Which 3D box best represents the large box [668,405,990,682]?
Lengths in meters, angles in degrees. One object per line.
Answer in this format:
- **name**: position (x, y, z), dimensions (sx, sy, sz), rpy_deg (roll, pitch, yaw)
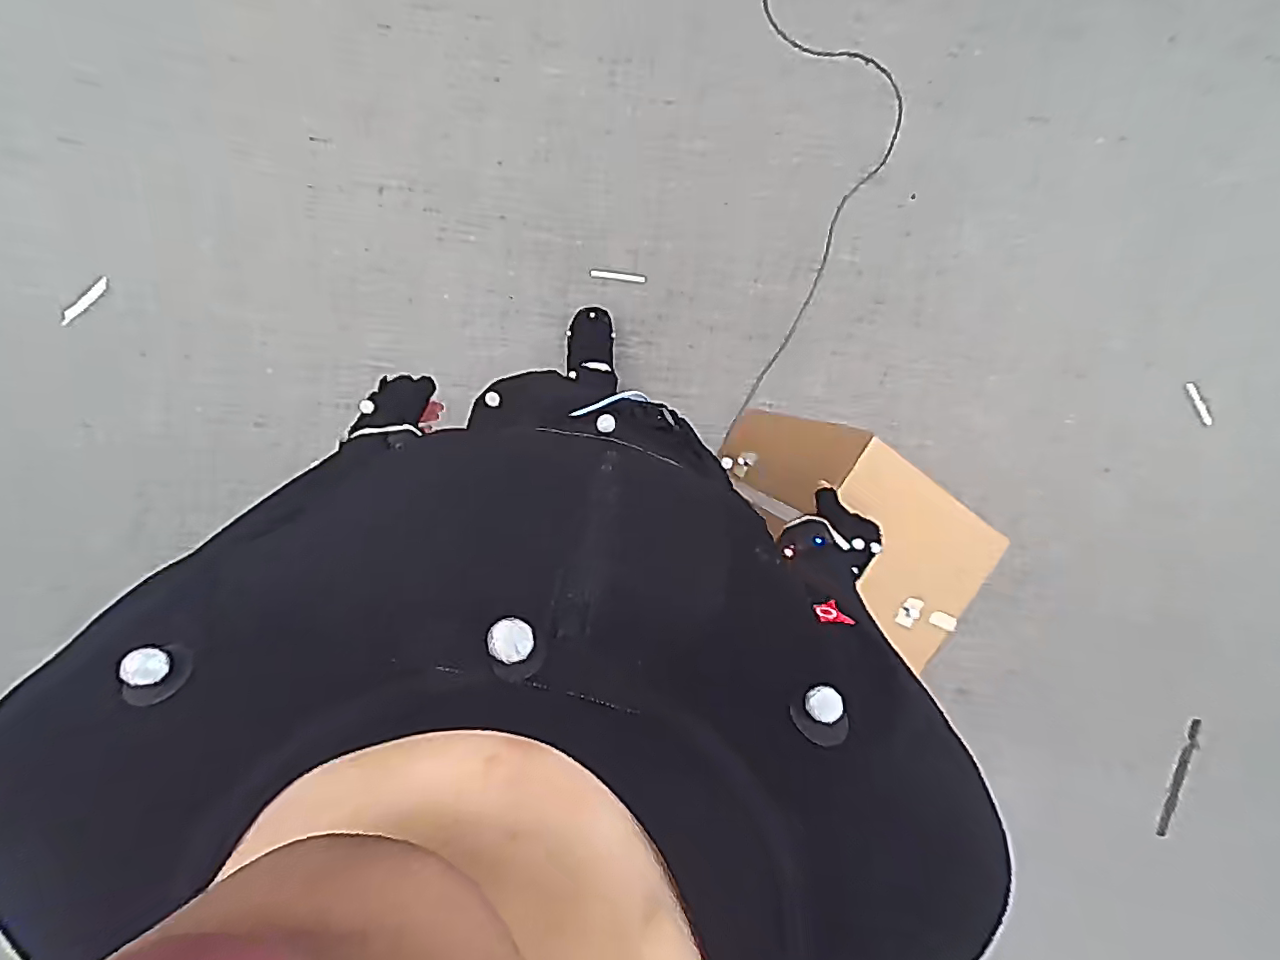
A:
- **large box**: position (0.305, 0.086, 0.985), dimensions (0.320, 0.408, 0.320), rpy_deg (32, 94, -18)
